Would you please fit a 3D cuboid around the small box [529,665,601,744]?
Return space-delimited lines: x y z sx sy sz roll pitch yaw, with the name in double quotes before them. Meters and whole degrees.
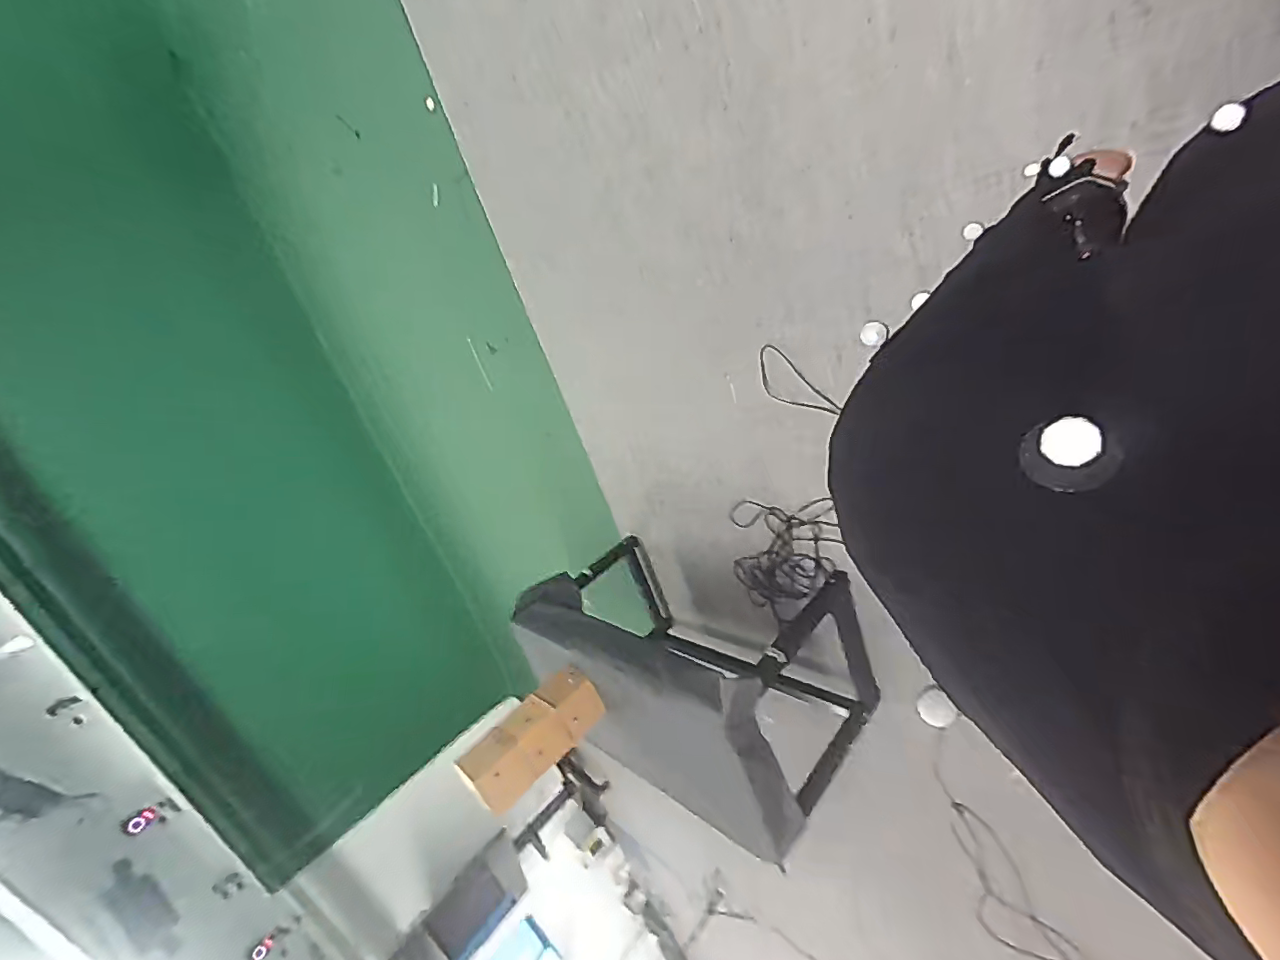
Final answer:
"small box" -0.269 0.815 1.978 0.168 0.176 0.179 3 120 48

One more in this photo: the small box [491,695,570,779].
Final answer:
"small box" -0.377 0.884 1.879 0.168 0.176 0.179 2 120 48
